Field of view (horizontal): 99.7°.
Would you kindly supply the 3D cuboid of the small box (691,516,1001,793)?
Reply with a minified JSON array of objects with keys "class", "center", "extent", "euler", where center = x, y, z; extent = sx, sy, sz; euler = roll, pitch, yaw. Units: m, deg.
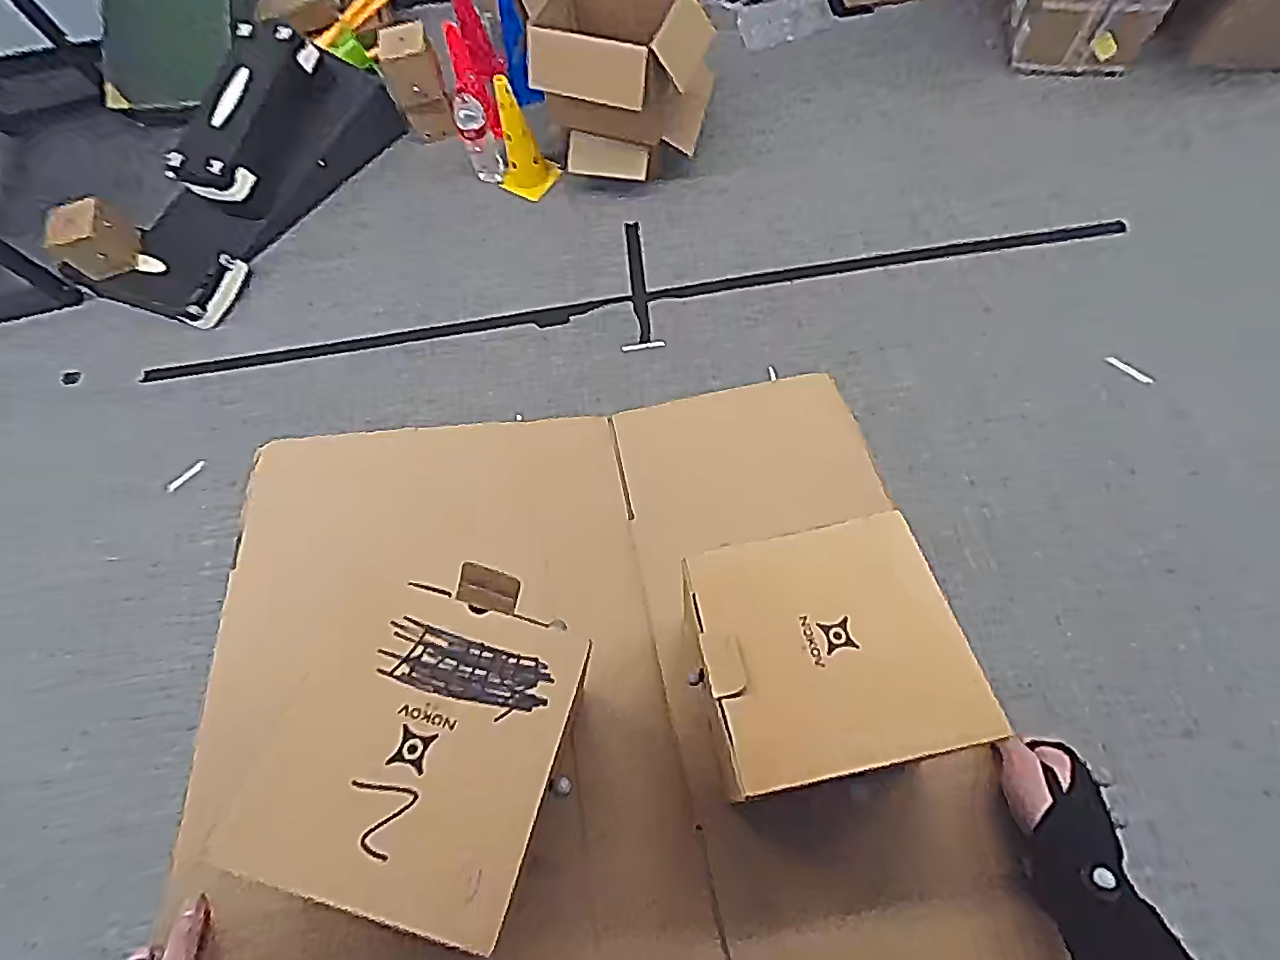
[{"class":"small box","center":[0.144,0.153,0.458],"extent":[0.179,0.176,0.168],"euler":[-13,59,-1]}]
